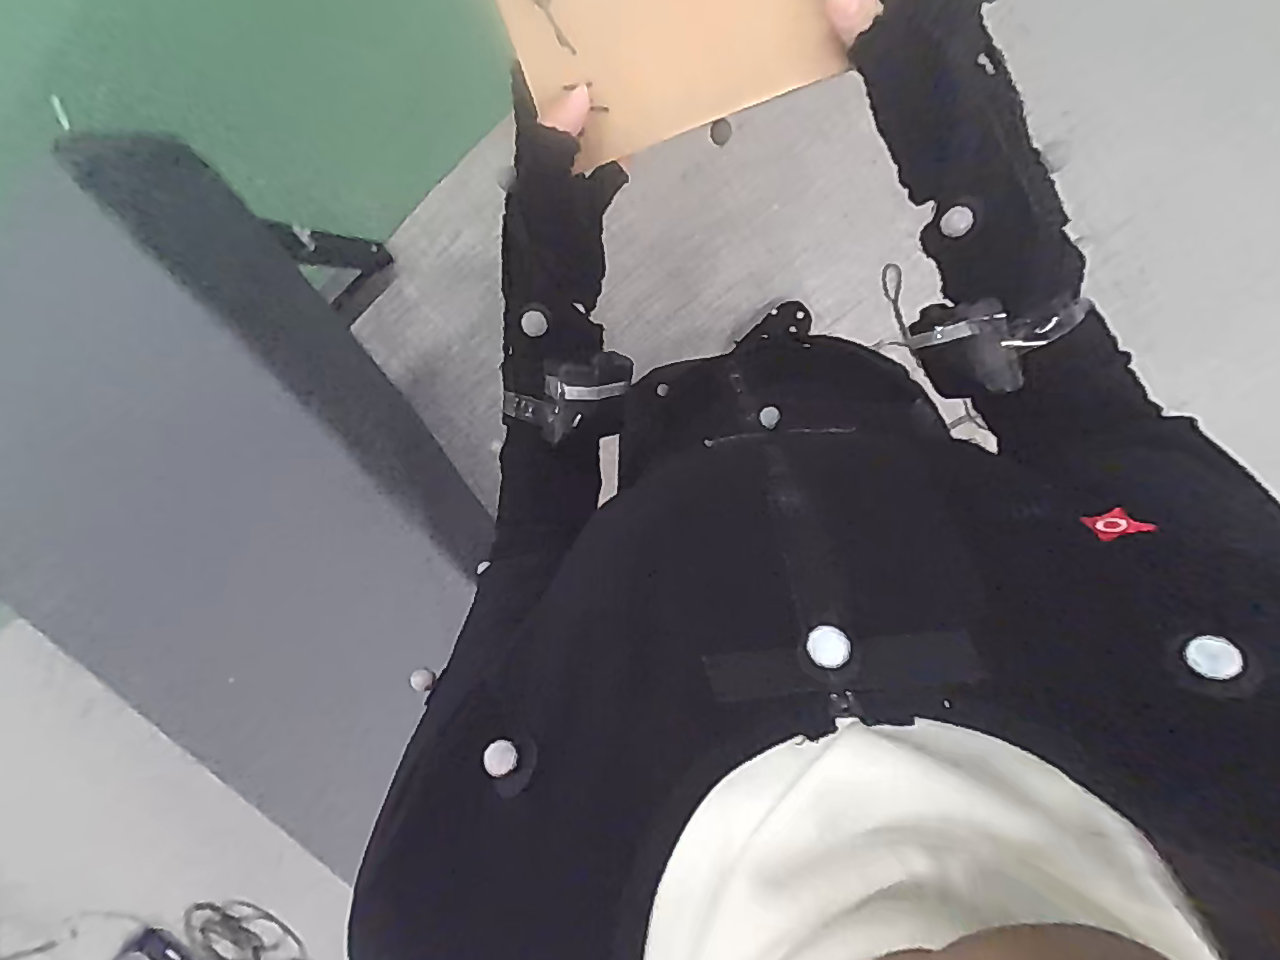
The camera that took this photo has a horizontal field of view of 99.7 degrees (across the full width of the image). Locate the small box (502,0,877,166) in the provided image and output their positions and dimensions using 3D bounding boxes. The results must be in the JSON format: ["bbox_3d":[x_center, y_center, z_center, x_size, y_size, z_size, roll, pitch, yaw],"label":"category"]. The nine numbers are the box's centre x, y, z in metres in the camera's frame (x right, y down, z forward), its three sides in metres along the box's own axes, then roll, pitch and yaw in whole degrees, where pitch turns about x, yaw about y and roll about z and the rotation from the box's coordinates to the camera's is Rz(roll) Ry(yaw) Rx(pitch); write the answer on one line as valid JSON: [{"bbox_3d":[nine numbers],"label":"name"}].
[{"bbox_3d":[0.023,-0.303,0.309,0.179,0.176,0.168,-9,122,17],"label":"small box"}]
